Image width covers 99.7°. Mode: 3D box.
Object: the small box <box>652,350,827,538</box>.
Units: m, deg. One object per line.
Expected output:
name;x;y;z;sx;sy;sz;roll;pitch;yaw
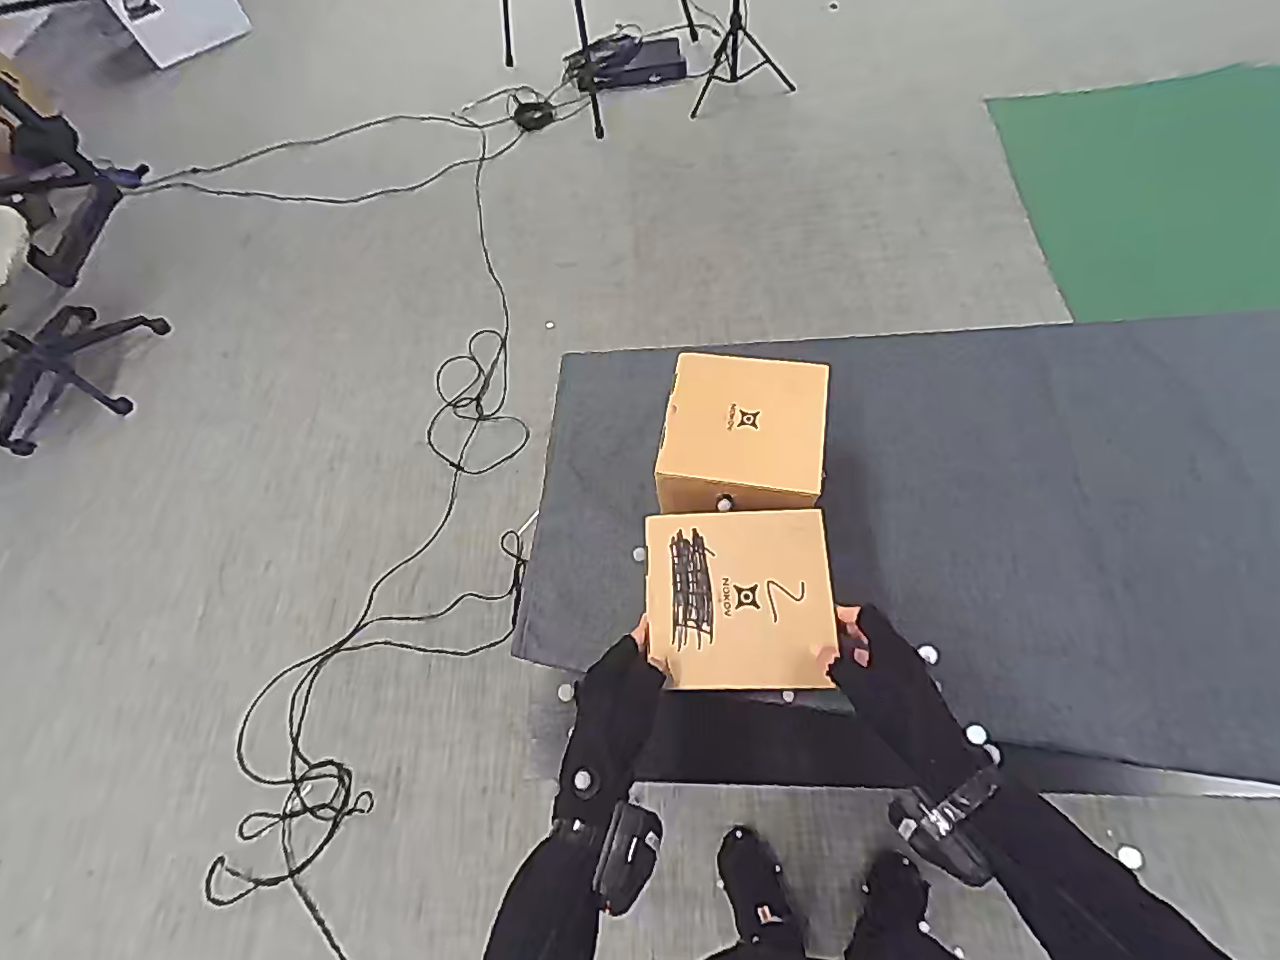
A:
small box;0.122;-0.037;0.669;0.179;0.176;0.168;7;66;11
